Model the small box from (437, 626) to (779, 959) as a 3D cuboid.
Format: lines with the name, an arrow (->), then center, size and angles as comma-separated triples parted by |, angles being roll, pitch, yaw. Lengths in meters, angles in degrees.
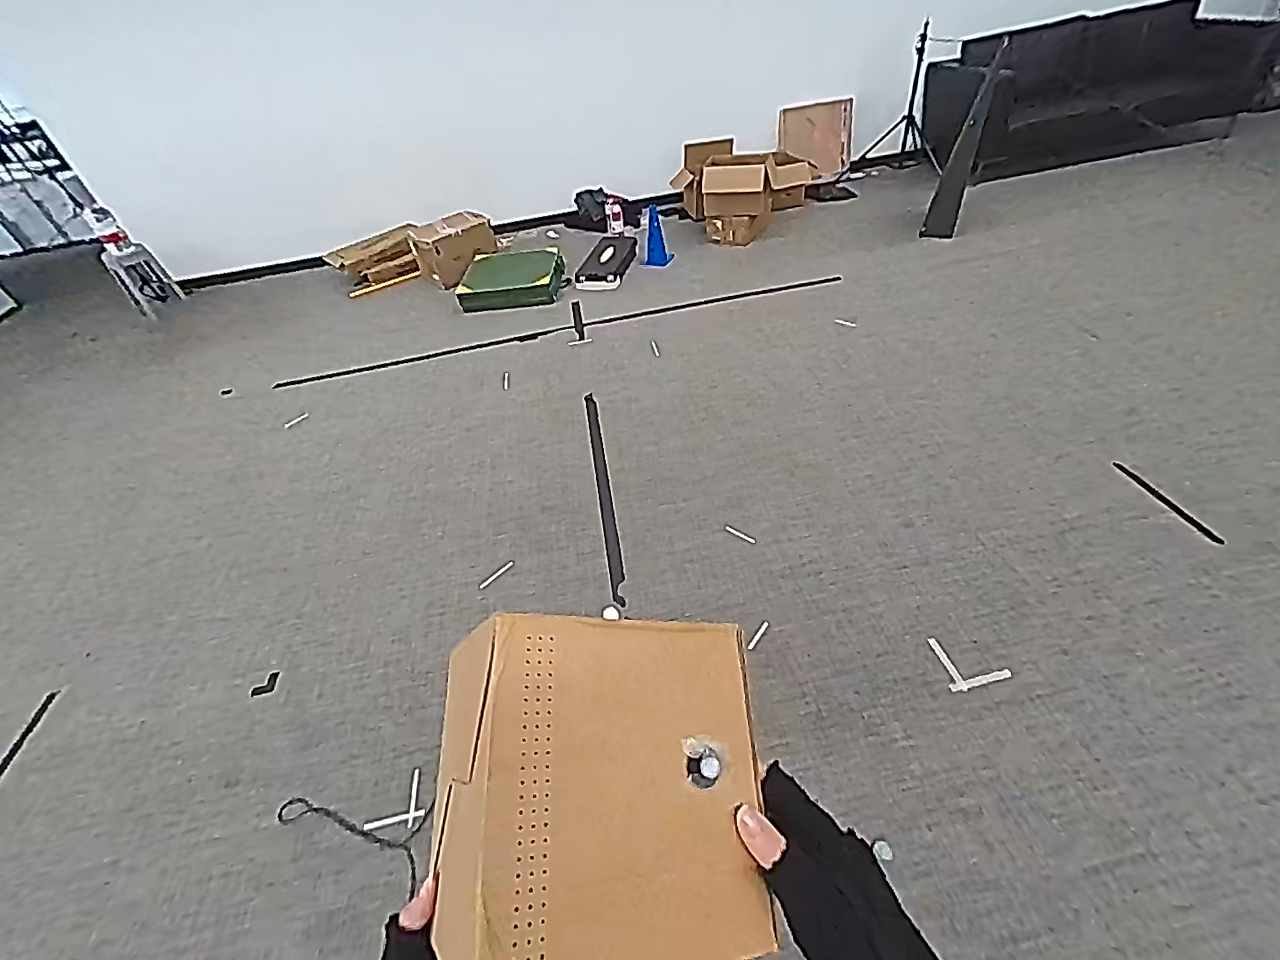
small box -> -0.034, 0.204, 0.373 | 0.176, 0.168, 0.179 | 10, 61, -23
